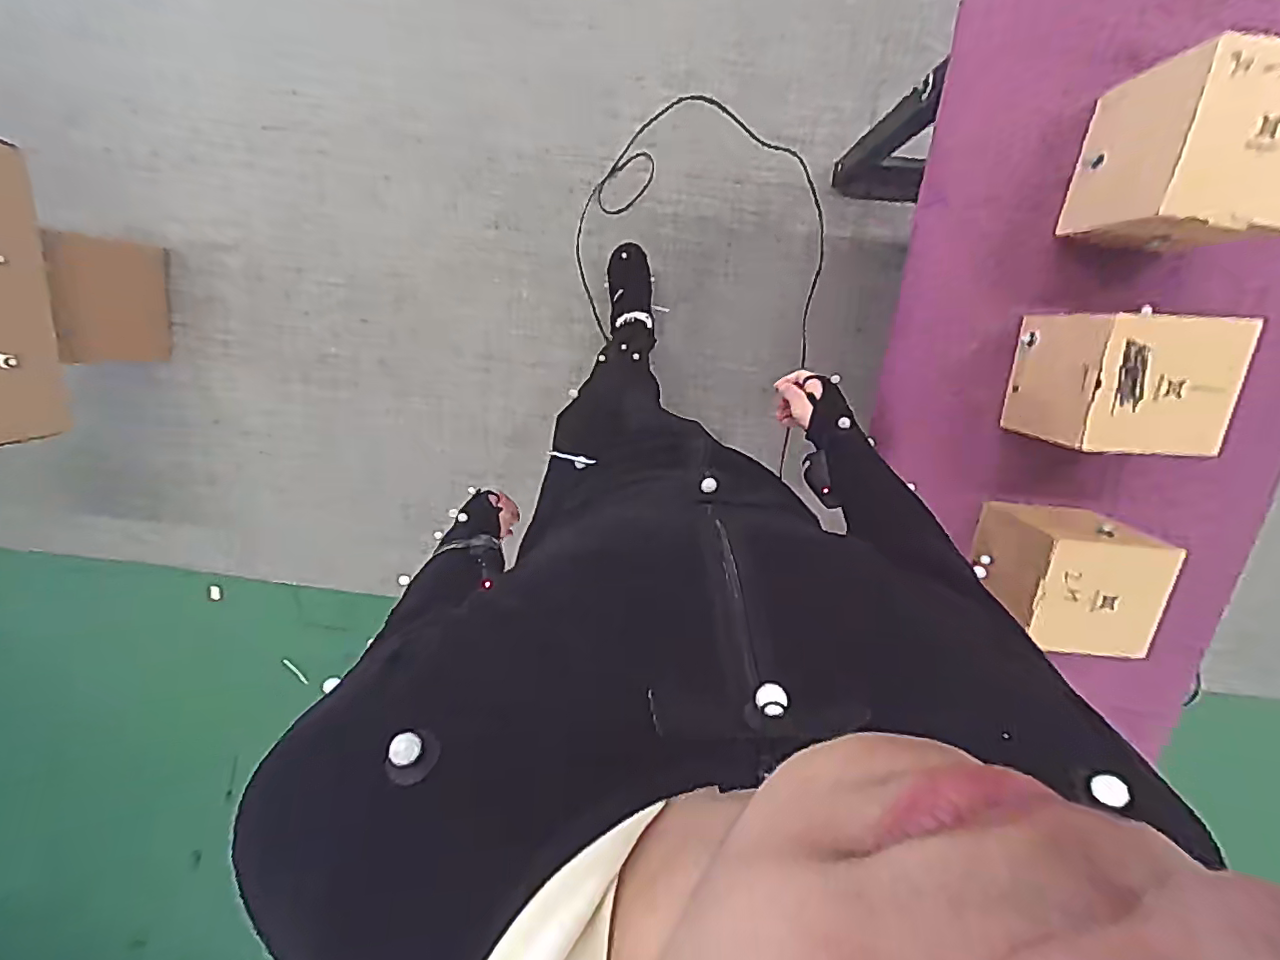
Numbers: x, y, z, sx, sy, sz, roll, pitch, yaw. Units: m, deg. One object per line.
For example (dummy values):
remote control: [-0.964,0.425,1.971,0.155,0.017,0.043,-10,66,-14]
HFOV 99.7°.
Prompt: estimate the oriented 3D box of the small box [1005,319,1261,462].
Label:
small box: [0.643,-0.127,0.734,0.179,0.176,0.168,3,106,0]

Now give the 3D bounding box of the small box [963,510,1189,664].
small box: [0.633,0.151,0.811,0.179,0.176,0.168,6,105,0]

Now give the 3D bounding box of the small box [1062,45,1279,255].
small box: [0.671,-0.382,0.662,0.168,0.176,0.179,7,107,-1]
